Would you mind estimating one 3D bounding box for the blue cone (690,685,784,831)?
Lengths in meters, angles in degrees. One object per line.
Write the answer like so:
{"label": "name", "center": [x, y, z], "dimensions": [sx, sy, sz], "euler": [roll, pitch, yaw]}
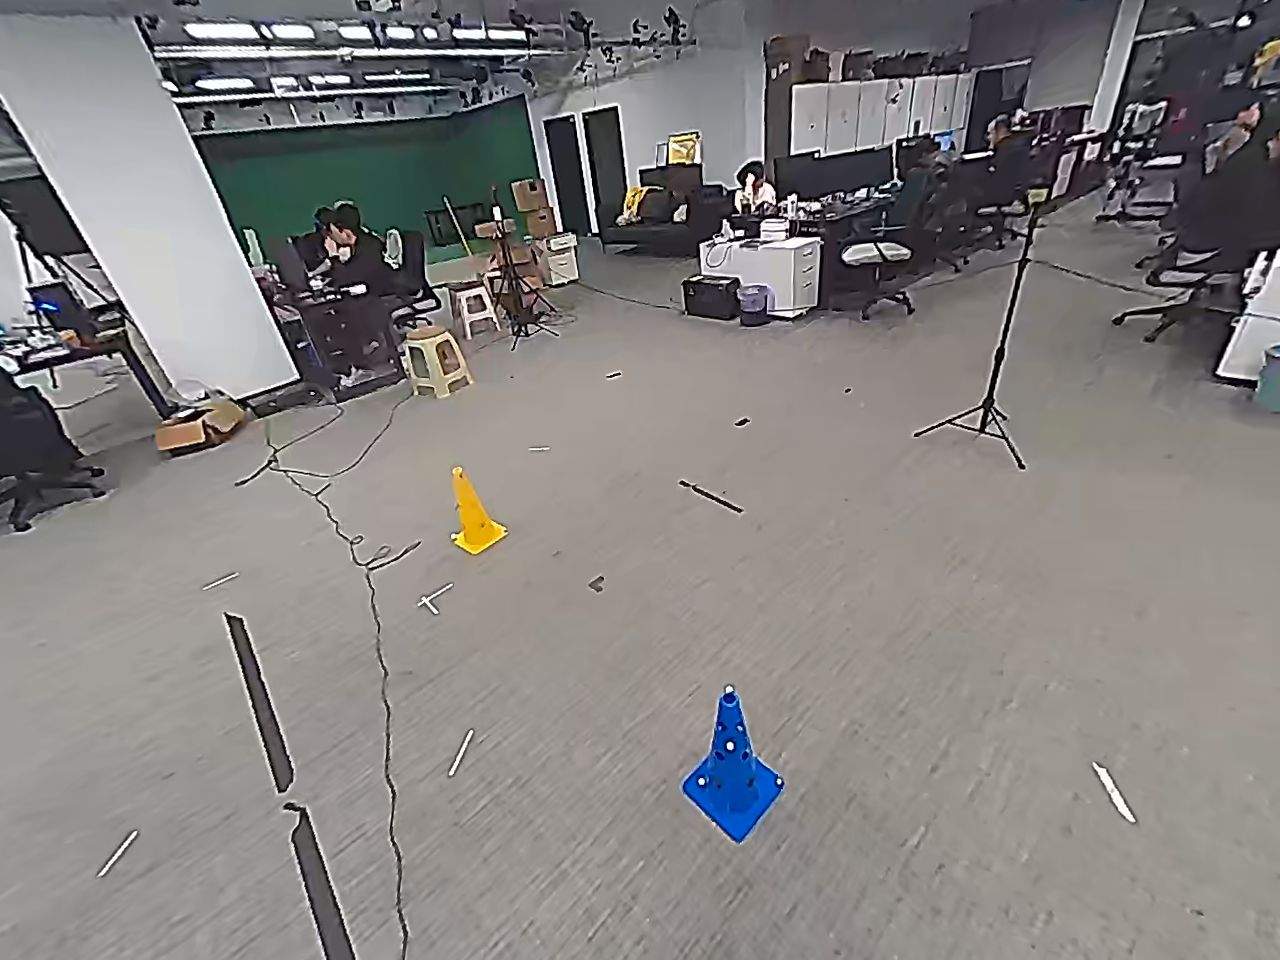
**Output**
{"label": "blue cone", "center": [0.227, 0.636, 1.299], "dimensions": [0.192, 0.380, 0.193], "euler": [-29, 37, -32]}
